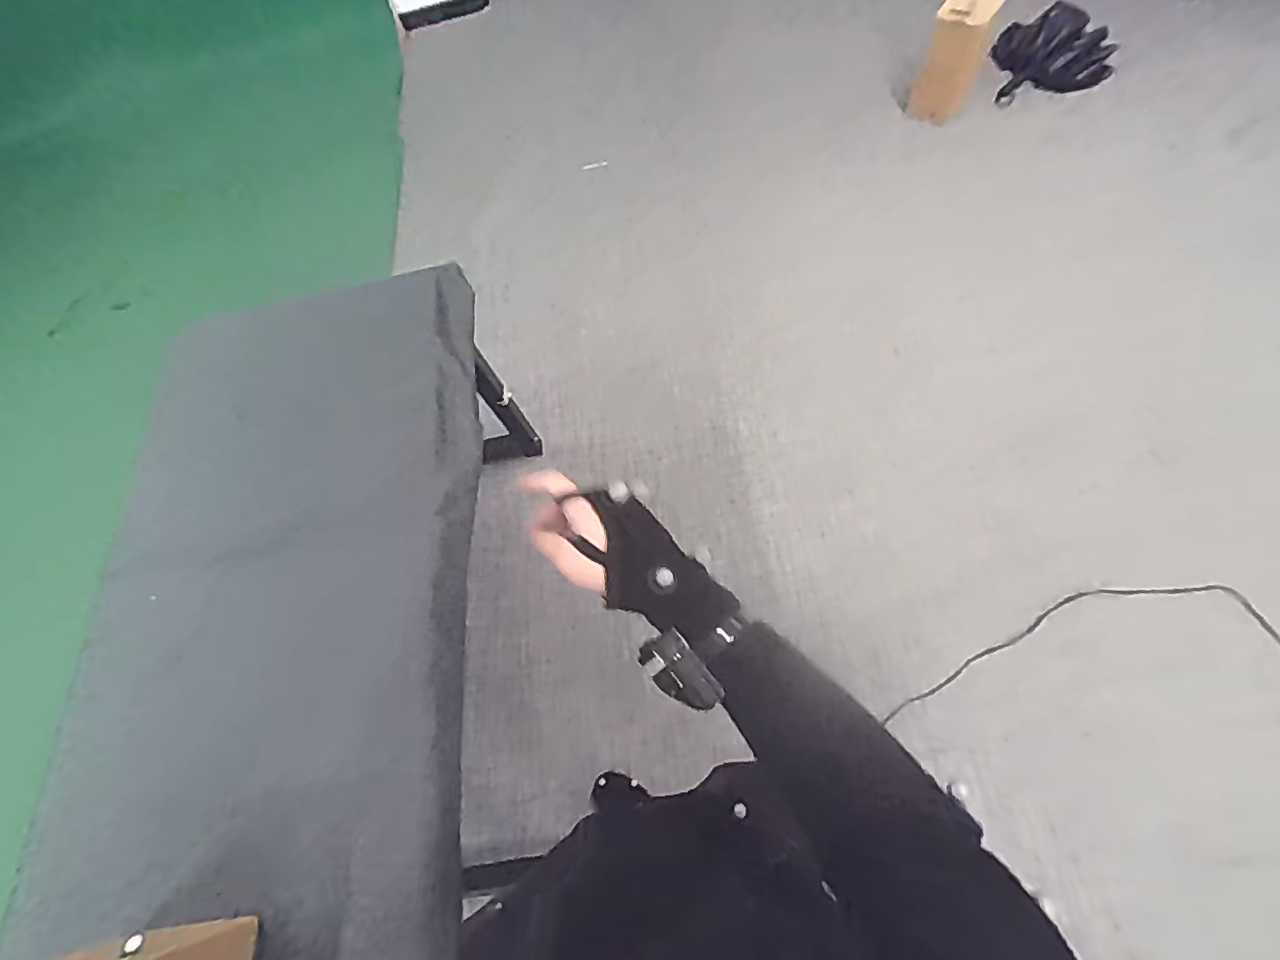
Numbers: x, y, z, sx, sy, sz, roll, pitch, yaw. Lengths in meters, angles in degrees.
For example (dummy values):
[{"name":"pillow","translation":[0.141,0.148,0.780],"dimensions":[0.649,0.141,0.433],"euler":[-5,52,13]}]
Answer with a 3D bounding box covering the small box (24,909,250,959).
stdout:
[{"name":"small box","translation":[-0.573,0.594,0.585],"dimensions":[0.179,0.176,0.168],"euler":[-10,64,4]}]
